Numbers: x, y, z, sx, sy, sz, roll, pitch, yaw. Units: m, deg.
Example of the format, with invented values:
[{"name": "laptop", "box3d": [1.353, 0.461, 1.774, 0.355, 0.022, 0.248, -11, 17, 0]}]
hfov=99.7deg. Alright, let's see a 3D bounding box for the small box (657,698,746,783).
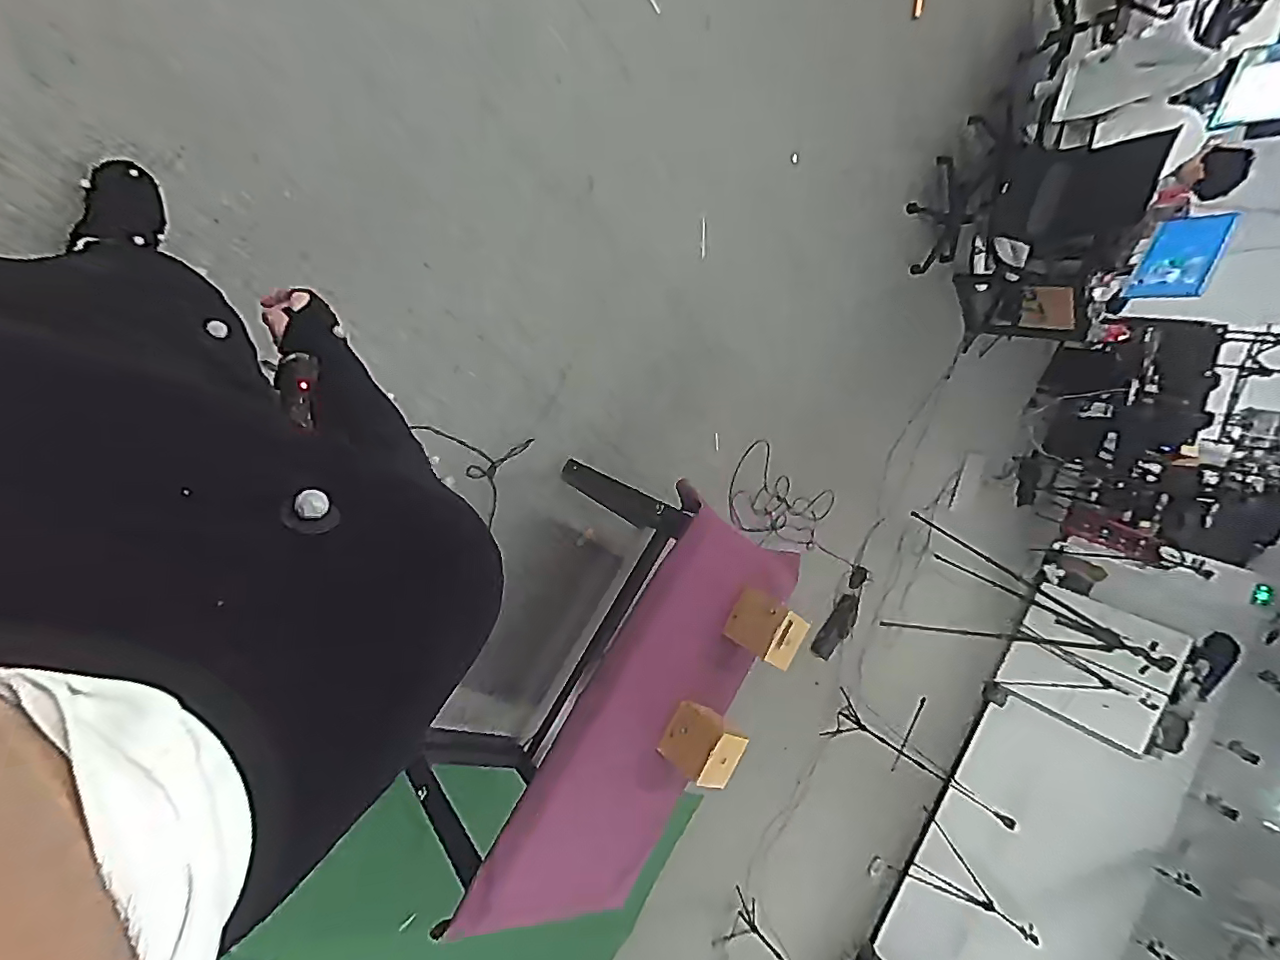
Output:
[{"name": "small box", "box3d": [0.186, 0.792, 1.651, 0.179, 0.176, 0.168, 37, 81, -43]}]
